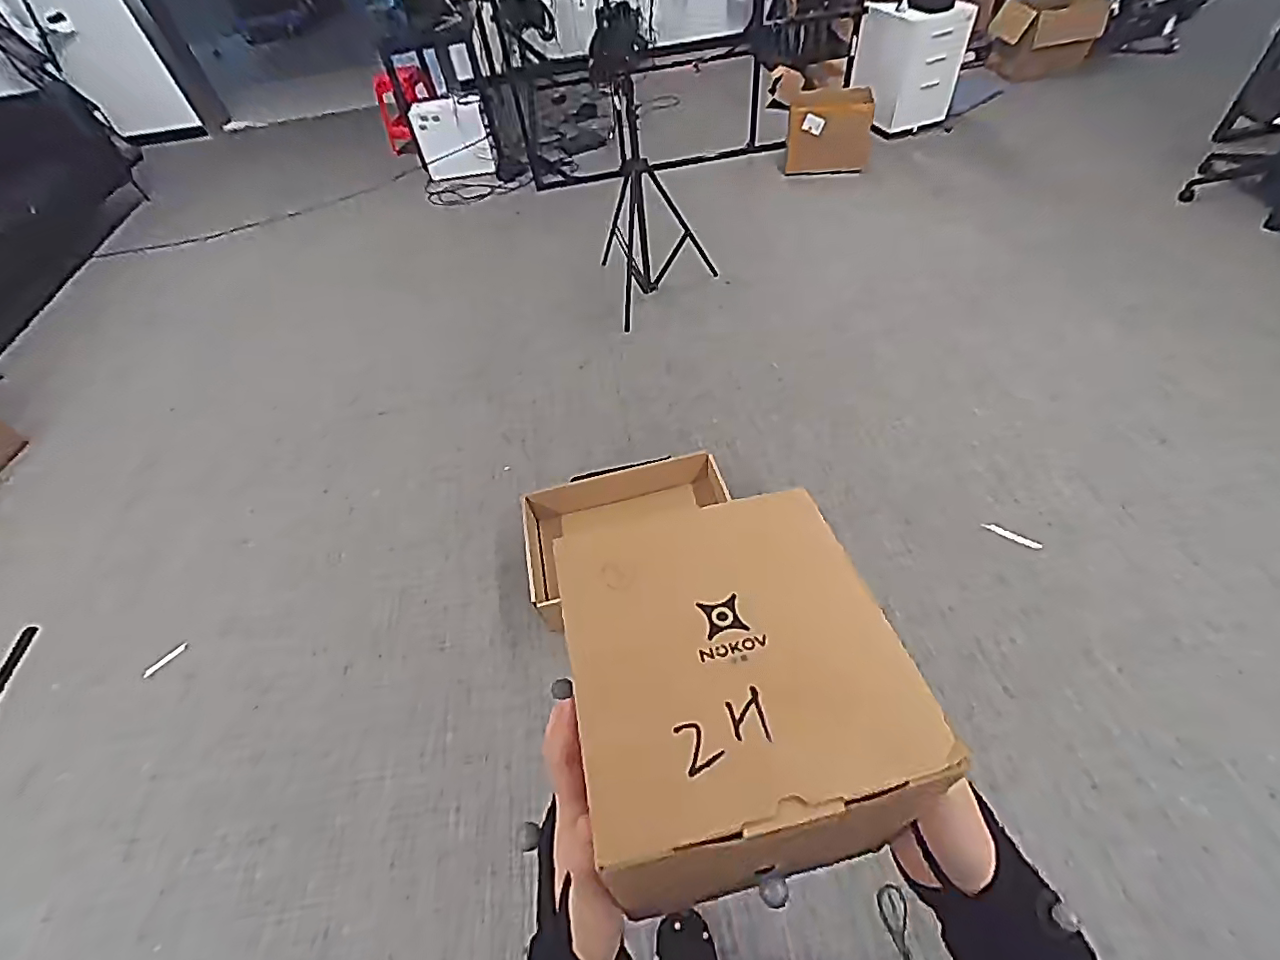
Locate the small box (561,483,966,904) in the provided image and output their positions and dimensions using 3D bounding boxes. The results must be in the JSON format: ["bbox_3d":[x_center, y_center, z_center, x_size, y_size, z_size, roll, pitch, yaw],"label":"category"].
[{"bbox_3d":[0.051,0.131,0.341,0.168,0.176,0.179,-12,46,-6],"label":"small box"}]
